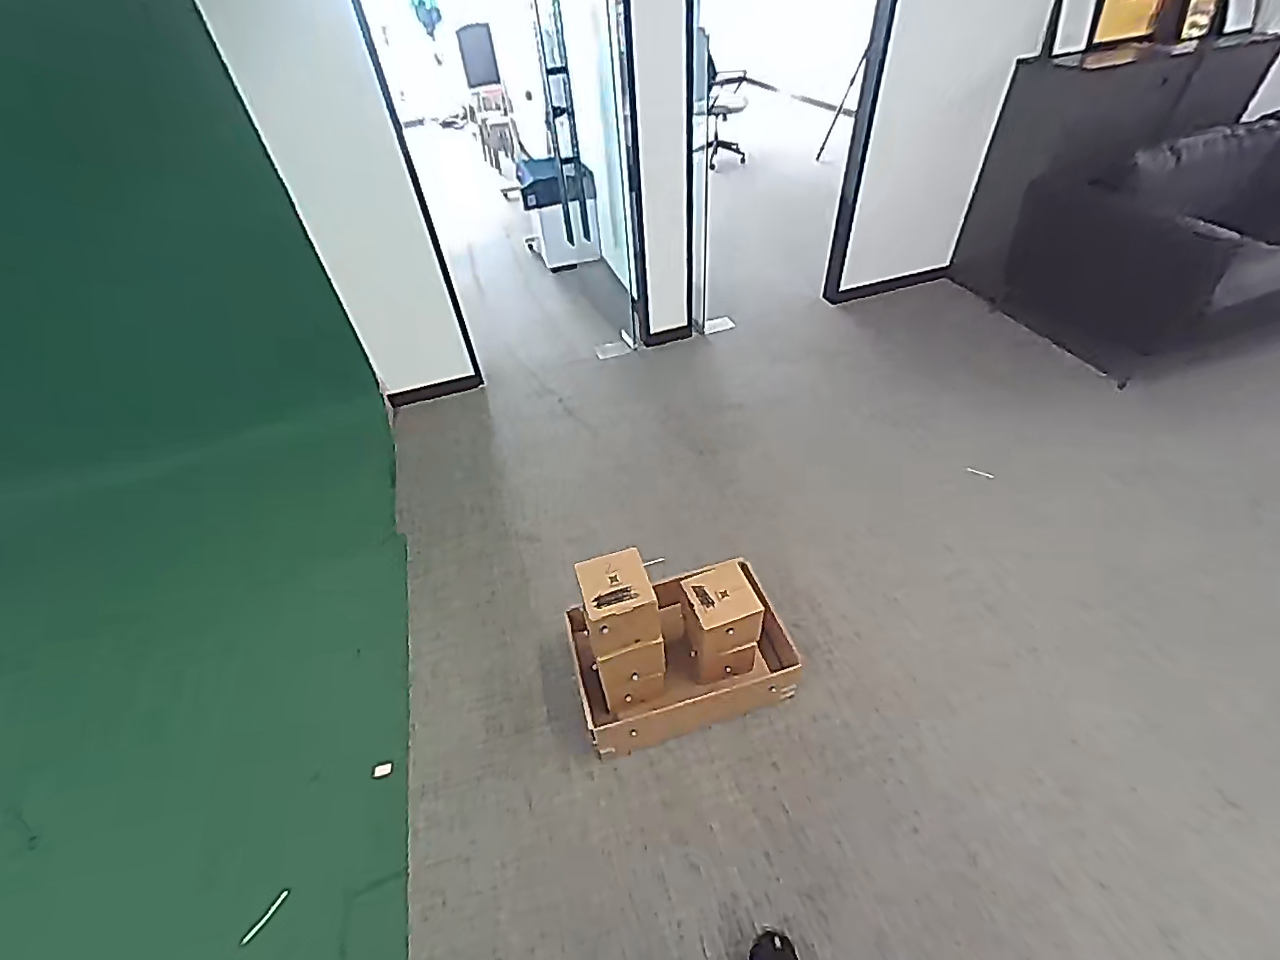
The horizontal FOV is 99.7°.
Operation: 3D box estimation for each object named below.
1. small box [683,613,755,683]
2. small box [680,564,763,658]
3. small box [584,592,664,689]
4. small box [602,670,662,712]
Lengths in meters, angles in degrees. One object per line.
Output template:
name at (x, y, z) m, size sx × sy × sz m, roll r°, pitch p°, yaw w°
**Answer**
small box at (0.233, 0.485, 1.617) m, size 0.168 × 0.176 × 0.179 m, roll -14°, pitch 45°, yaw -7°
small box at (0.222, 0.367, 1.500) m, size 0.179 × 0.176 × 0.168 m, roll -16°, pitch 46°, yaw -11°
small box at (-0.043, 0.434, 1.456) m, size 0.179 × 0.176 × 0.168 m, roll -14°, pitch 44°, yaw -11°
small box at (-0.037, 0.550, 1.572) m, size 0.168 × 0.176 × 0.179 m, roll -13°, pitch 44°, yaw -9°
